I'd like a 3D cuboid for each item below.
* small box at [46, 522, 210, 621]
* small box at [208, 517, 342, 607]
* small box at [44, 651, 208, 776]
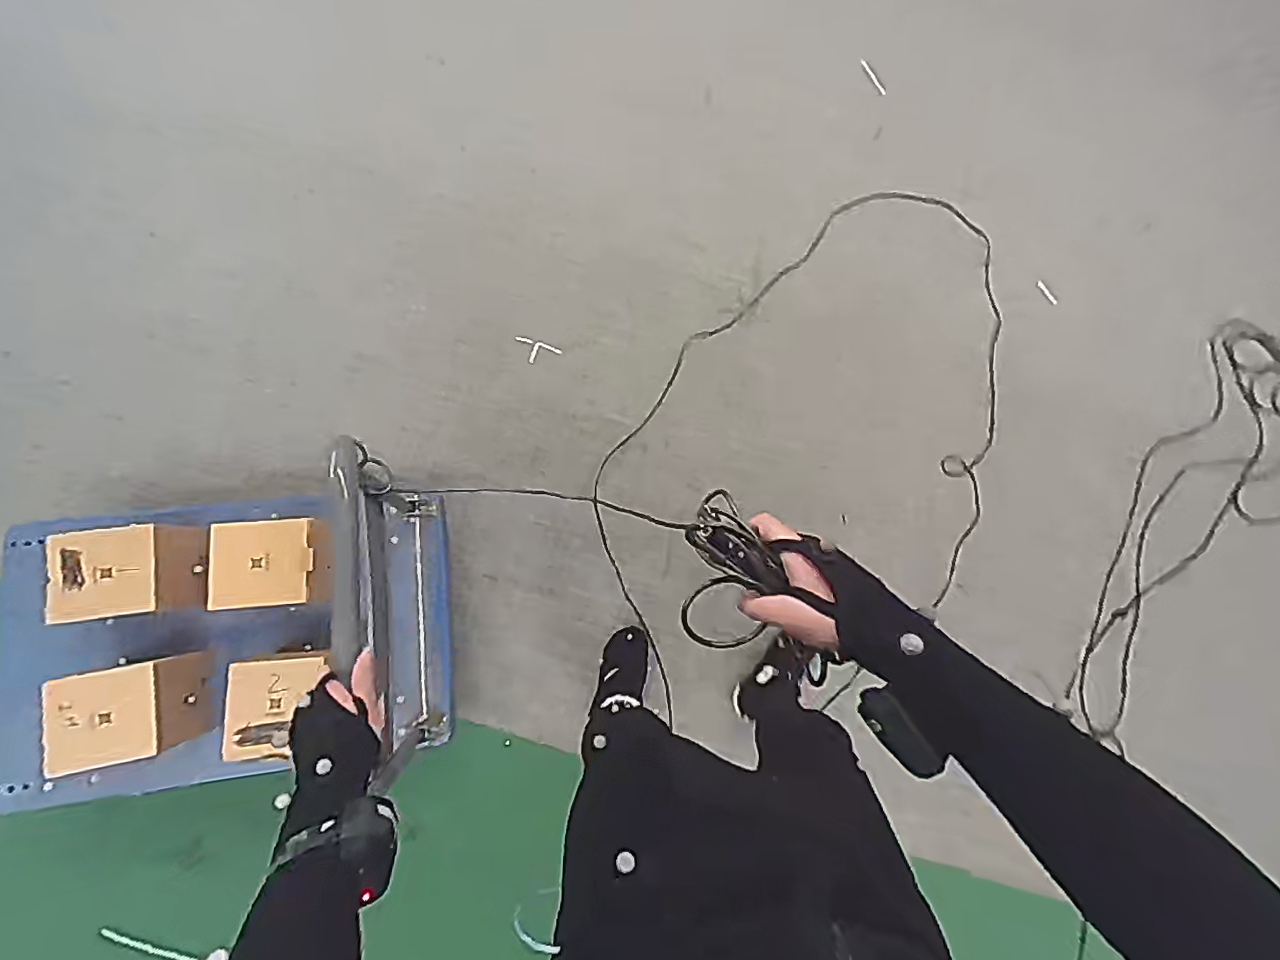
[{"bbox_3d":[-0.999,0.181,1.070,0.179,0.176,0.168,-6,82,-11],"label":"small box"},{"bbox_3d":[-0.741,0.169,1.115,0.179,0.176,0.168,-3,81,-10],"label":"small box"},{"bbox_3d":[-0.963,0.432,1.032,0.179,0.176,0.168,-8,81,-10],"label":"small box"}]
